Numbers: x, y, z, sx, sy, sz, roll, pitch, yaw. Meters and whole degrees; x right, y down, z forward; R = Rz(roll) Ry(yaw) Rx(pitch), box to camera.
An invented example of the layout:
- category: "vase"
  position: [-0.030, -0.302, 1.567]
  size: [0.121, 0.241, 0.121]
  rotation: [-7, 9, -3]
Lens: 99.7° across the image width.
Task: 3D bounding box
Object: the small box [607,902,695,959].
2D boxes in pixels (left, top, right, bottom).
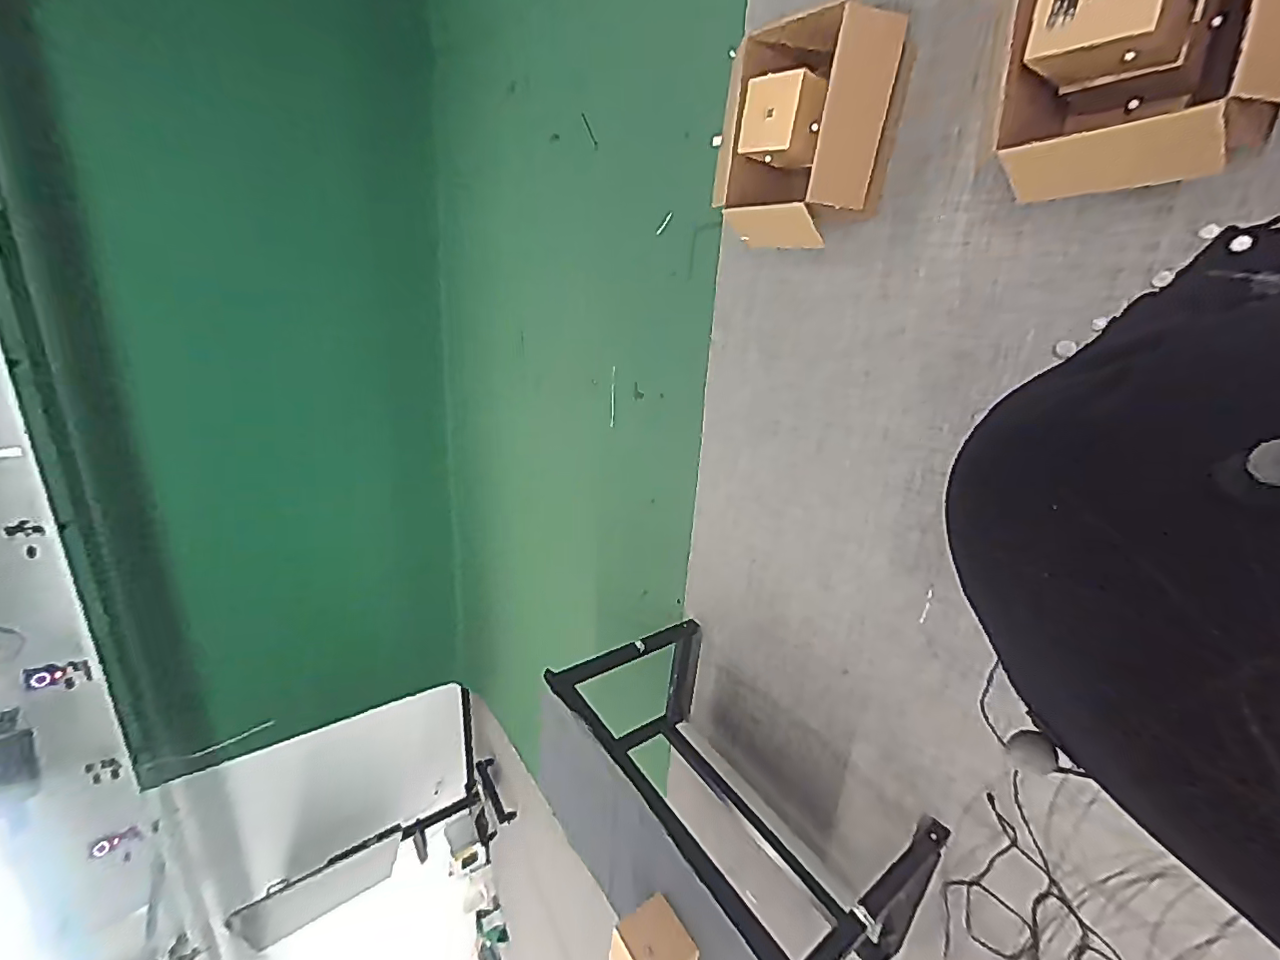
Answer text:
- category: "small box"
  position: [0.029, 1.315, 1.468]
  size: [0.179, 0.176, 0.168]
  rotation: [33, 123, 46]

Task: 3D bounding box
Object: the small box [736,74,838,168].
- category: "small box"
  position: [0.381, -0.918, 1.397]
  size: [0.179, 0.176, 0.168]
  rotation: [31, 121, 45]
